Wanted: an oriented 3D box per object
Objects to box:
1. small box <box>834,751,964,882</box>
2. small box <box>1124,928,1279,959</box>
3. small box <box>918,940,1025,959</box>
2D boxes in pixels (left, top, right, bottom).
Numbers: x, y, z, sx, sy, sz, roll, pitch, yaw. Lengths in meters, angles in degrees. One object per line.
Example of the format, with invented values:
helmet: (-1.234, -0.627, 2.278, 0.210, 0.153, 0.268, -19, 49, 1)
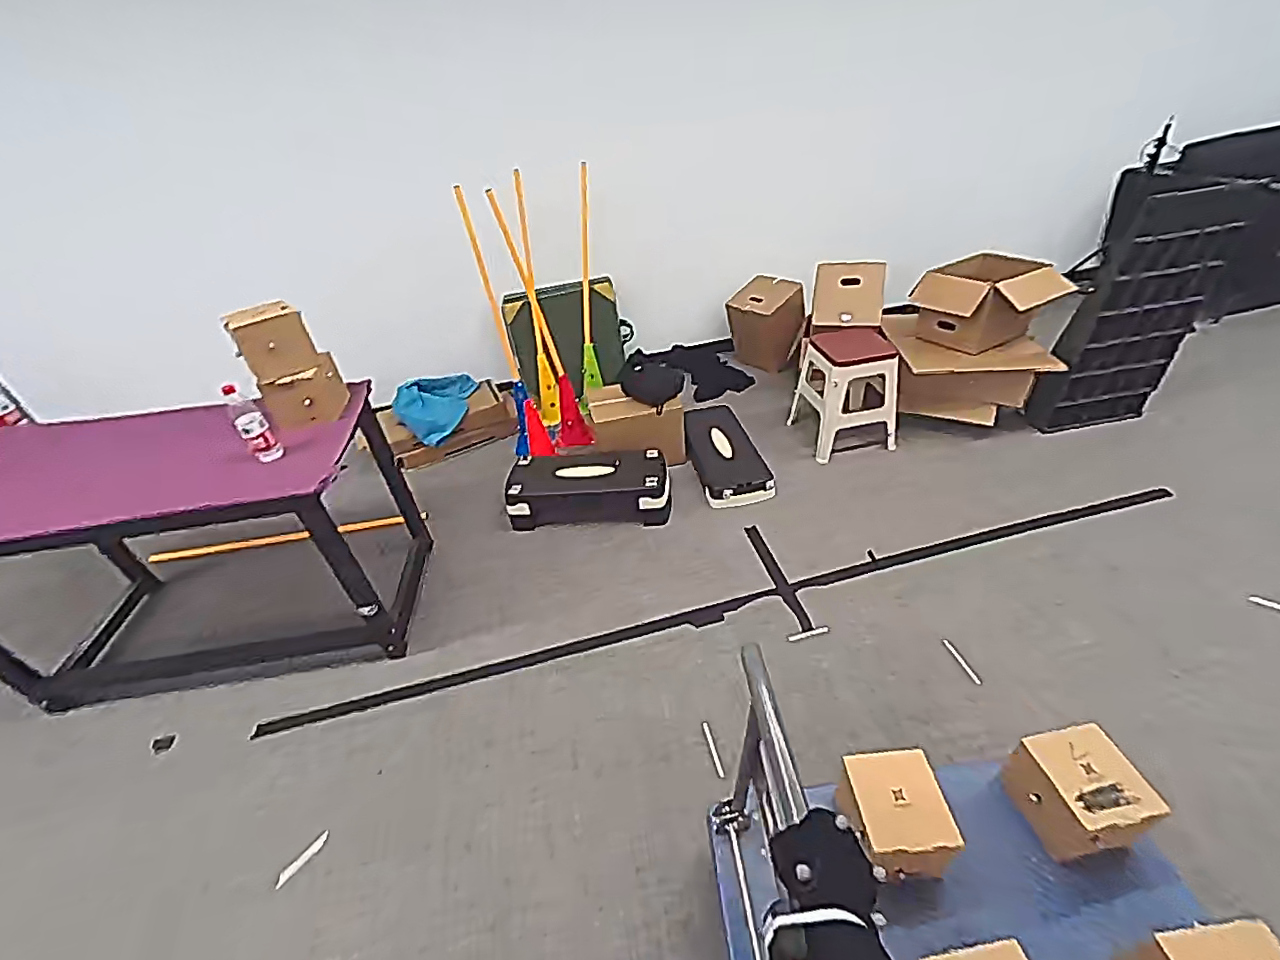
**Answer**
small box: (0.506, 0.677, 1.089, 0.168, 0.176, 0.179, -5, 39, 1)
small box: (0.907, 0.825, 0.837, 0.179, 0.176, 0.168, -8, 37, 1)
small box: (0.536, 0.862, 0.842, 0.168, 0.176, 0.179, -9, 38, -3)
